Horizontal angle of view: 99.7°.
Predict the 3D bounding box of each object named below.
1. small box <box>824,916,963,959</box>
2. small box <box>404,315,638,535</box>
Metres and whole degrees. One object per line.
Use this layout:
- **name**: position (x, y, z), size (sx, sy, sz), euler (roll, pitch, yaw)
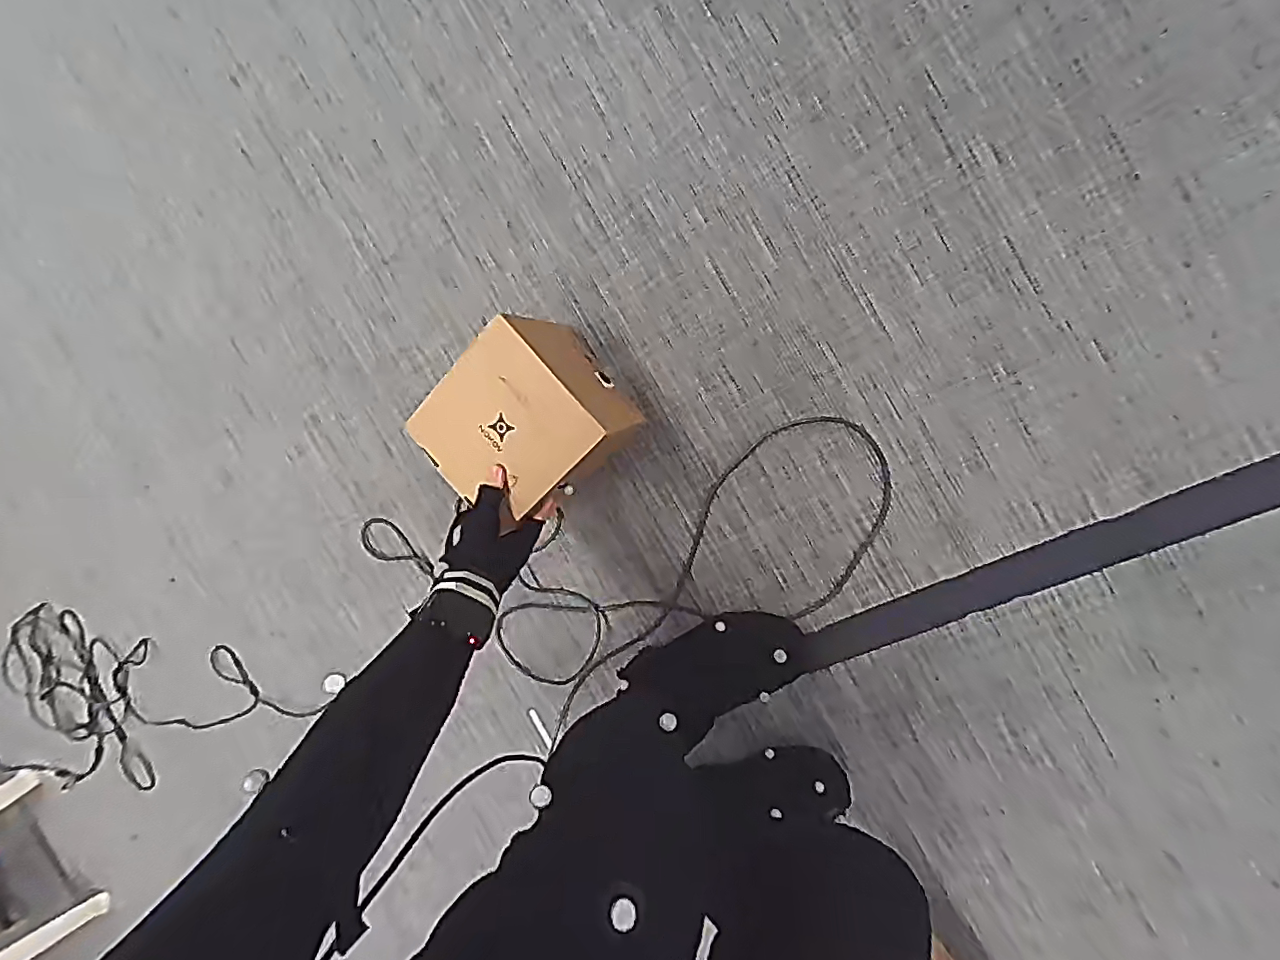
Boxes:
- **small box**: position (0.330, 0.685, 0.648), size (0.179, 0.176, 0.168), euler (-40, 88, 20)
- **small box**: position (-0.128, -0.067, 0.640), size (0.179, 0.176, 0.168), euler (-44, 88, 19)
